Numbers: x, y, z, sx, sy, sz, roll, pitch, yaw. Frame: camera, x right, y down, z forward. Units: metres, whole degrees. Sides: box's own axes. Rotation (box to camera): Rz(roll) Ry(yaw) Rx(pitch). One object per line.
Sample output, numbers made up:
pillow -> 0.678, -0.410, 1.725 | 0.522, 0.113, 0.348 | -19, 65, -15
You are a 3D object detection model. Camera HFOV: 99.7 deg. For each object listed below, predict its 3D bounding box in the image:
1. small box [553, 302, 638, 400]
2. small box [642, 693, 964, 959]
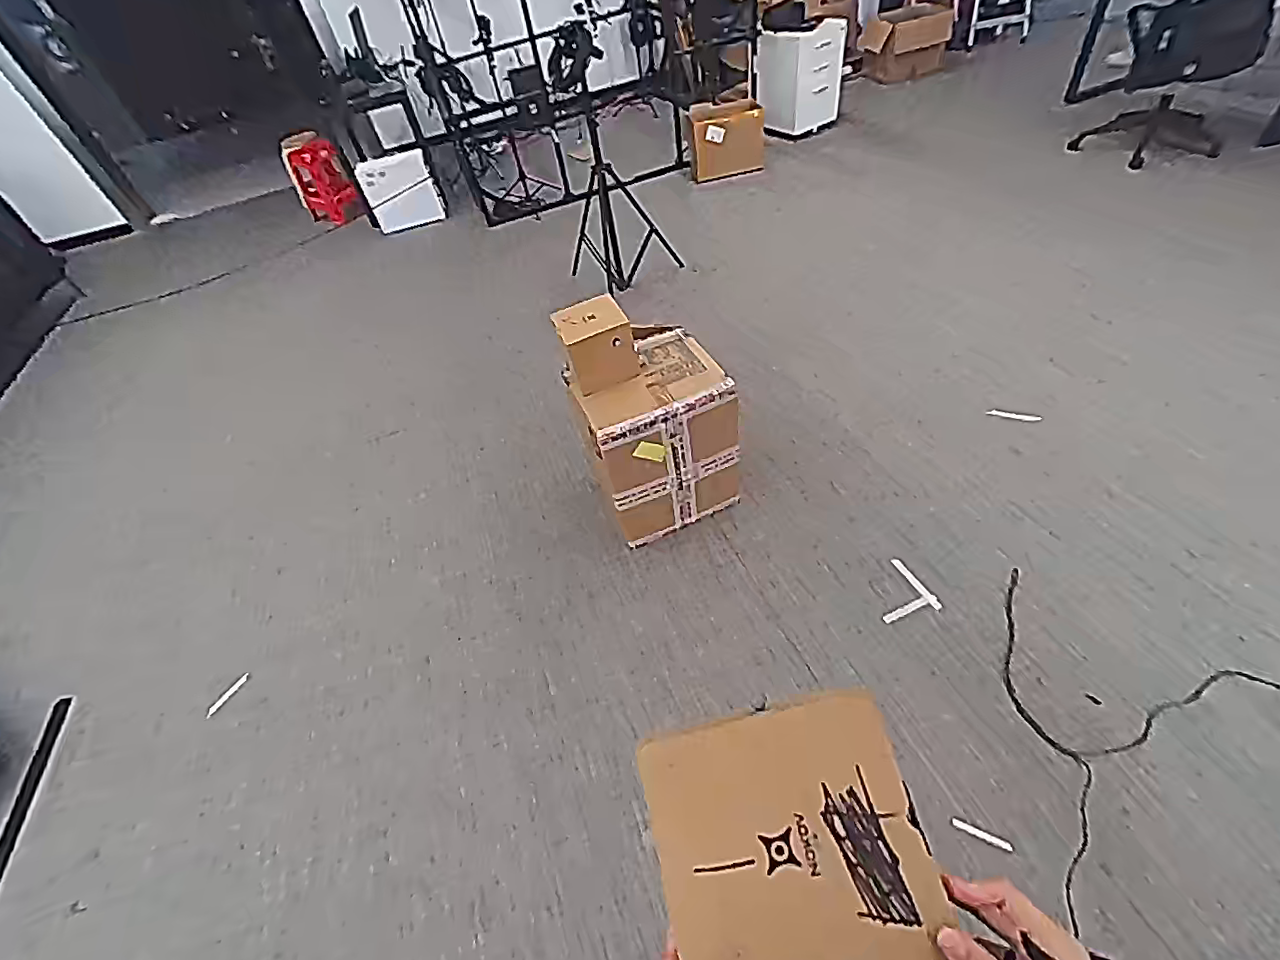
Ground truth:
small box -> -0.115, -0.348, 1.466 | 0.179, 0.176, 0.168 | -23, 48, -6
small box -> 0.105, 0.276, 0.434 | 0.179, 0.176, 0.168 | -13, 66, -2
